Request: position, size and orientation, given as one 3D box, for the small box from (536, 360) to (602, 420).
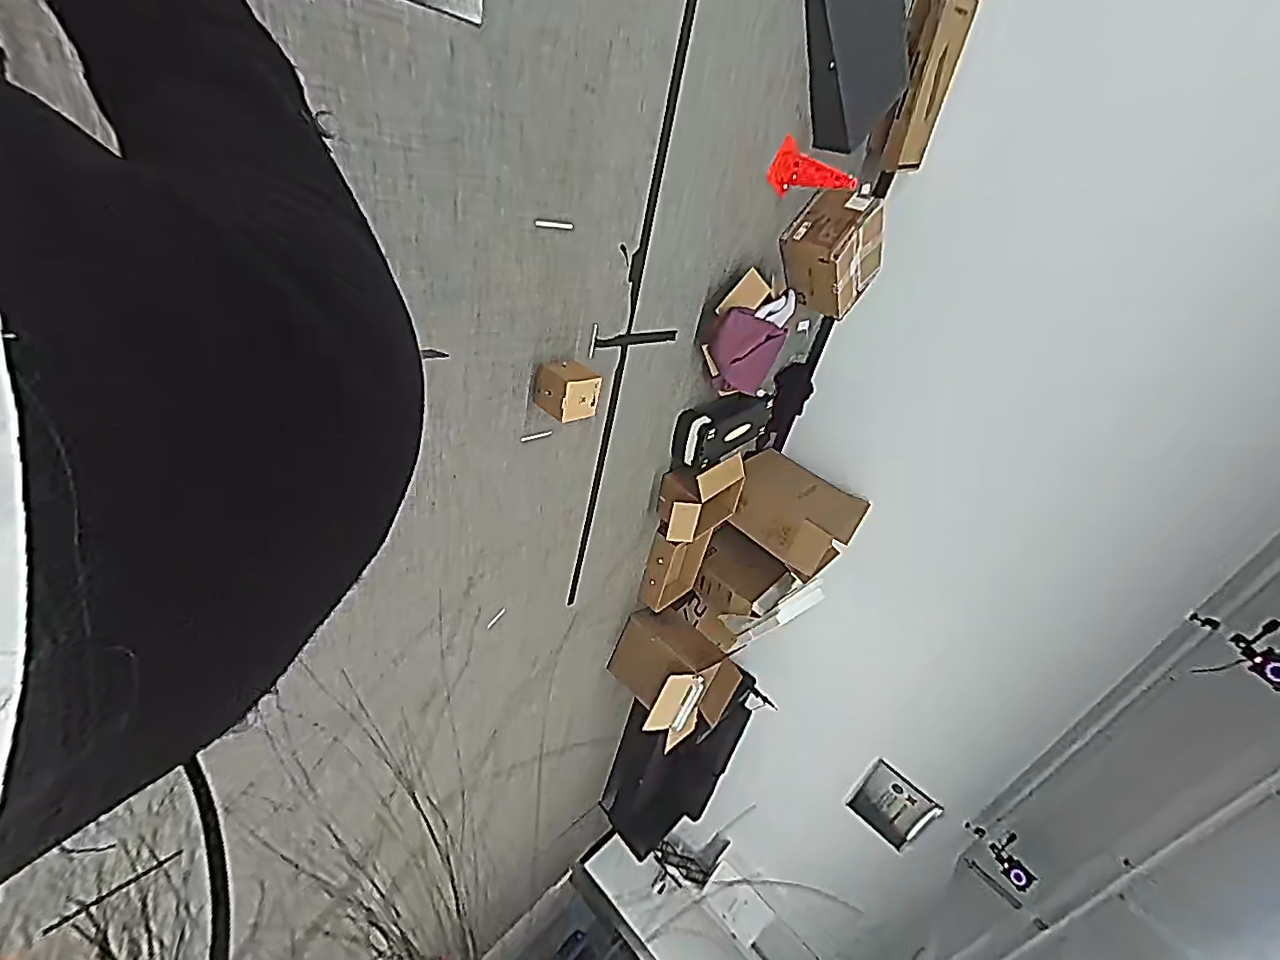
[{"bbox_3d":[-0.277,-0.350,2.067,0.179,0.176,0.168,-19,135,-44],"label":"small box"}]
